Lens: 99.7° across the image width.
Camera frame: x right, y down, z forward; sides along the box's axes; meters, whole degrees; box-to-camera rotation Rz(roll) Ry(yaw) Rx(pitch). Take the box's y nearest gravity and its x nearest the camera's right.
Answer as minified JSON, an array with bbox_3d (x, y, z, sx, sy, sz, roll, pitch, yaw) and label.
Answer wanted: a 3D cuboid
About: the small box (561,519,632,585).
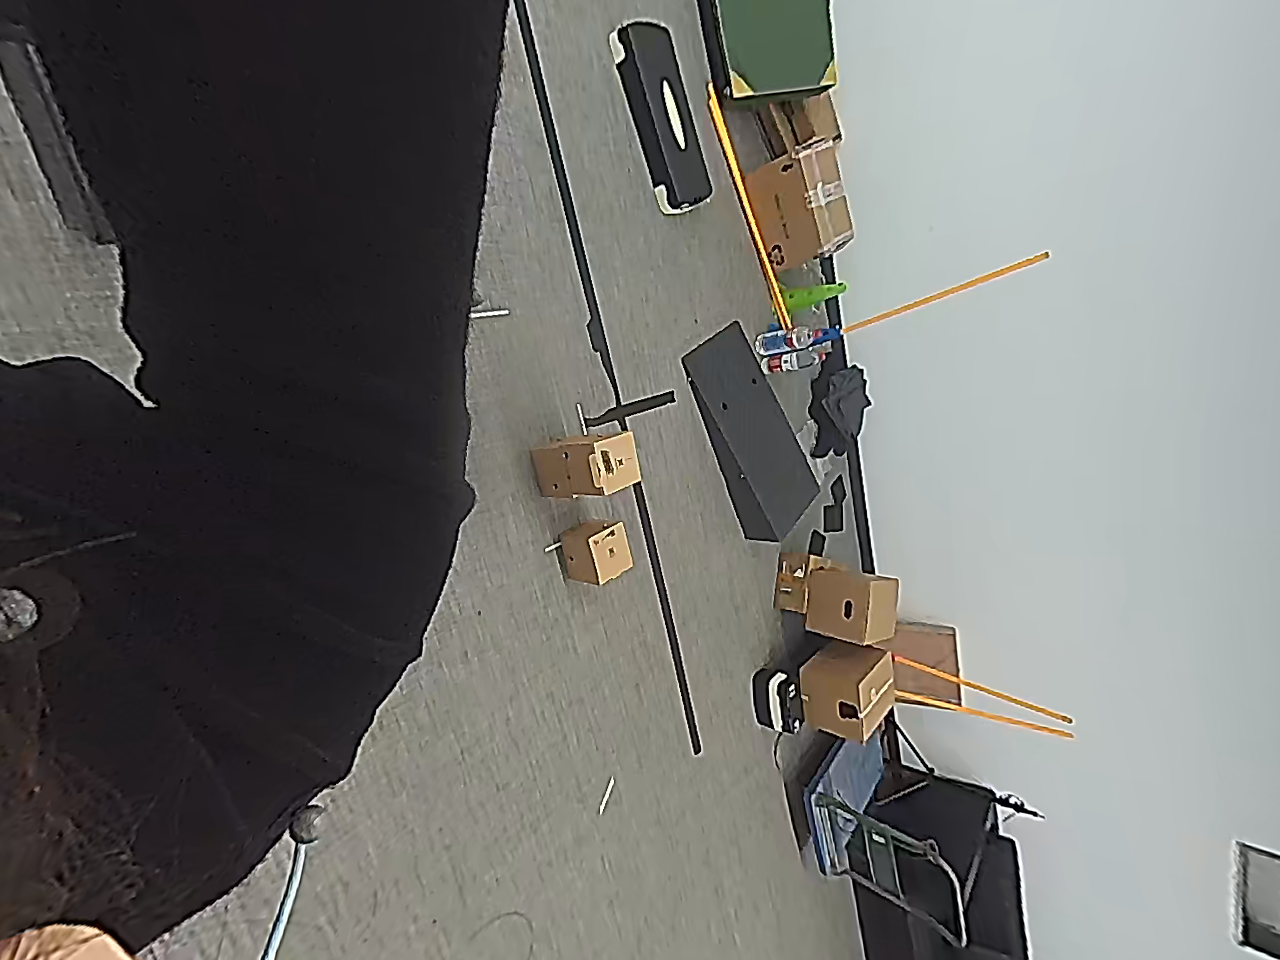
[{"bbox_3d":[-0.155,0.248,1.910,0.168,0.176,0.179,-25,109,-43],"label":"small box"}]

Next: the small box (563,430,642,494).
[{"bbox_3d":[-0.124,-0.056,1.705,0.179,0.176,0.168,-23,107,-44],"label":"small box"}]

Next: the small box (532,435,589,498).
[{"bbox_3d":[-0.237,-0.050,1.824,0.168,0.176,0.179,-26,109,-42],"label":"small box"}]
